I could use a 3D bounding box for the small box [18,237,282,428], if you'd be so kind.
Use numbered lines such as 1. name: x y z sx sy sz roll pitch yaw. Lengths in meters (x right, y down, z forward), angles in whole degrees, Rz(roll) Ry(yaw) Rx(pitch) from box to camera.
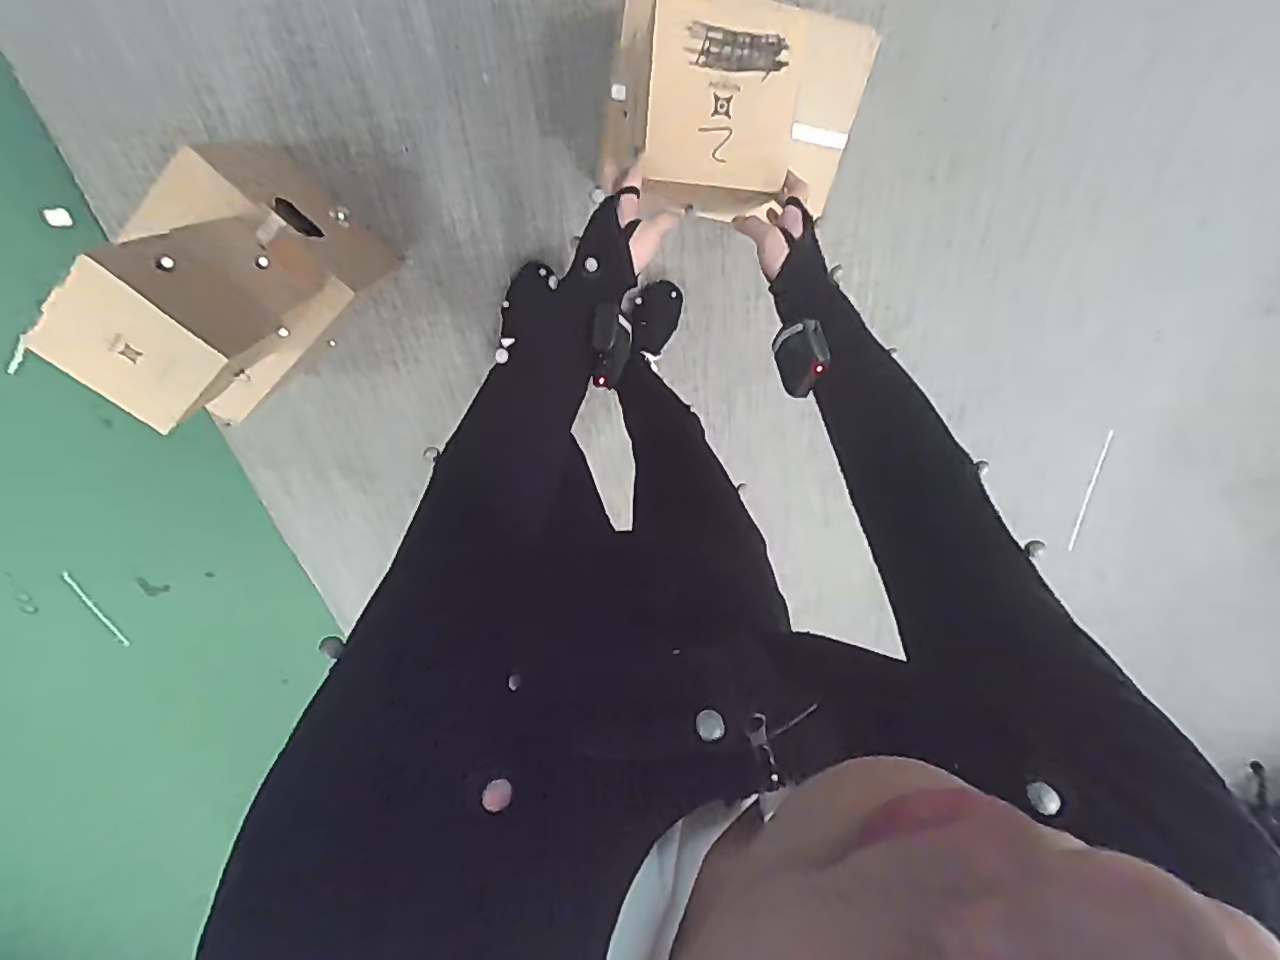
1. small box: -0.652 -0.209 0.744 0.168 0.176 0.179 -36 119 16

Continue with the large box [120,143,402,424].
1. large box: -0.769 -0.400 1.096 0.408 0.320 0.320 -37 116 17

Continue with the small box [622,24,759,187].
1. small box: 0.063 -0.549 0.807 0.168 0.176 0.179 0 123 -7

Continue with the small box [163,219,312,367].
1. small box: -0.673 -0.297 0.880 0.179 0.176 0.168 -39 117 16
